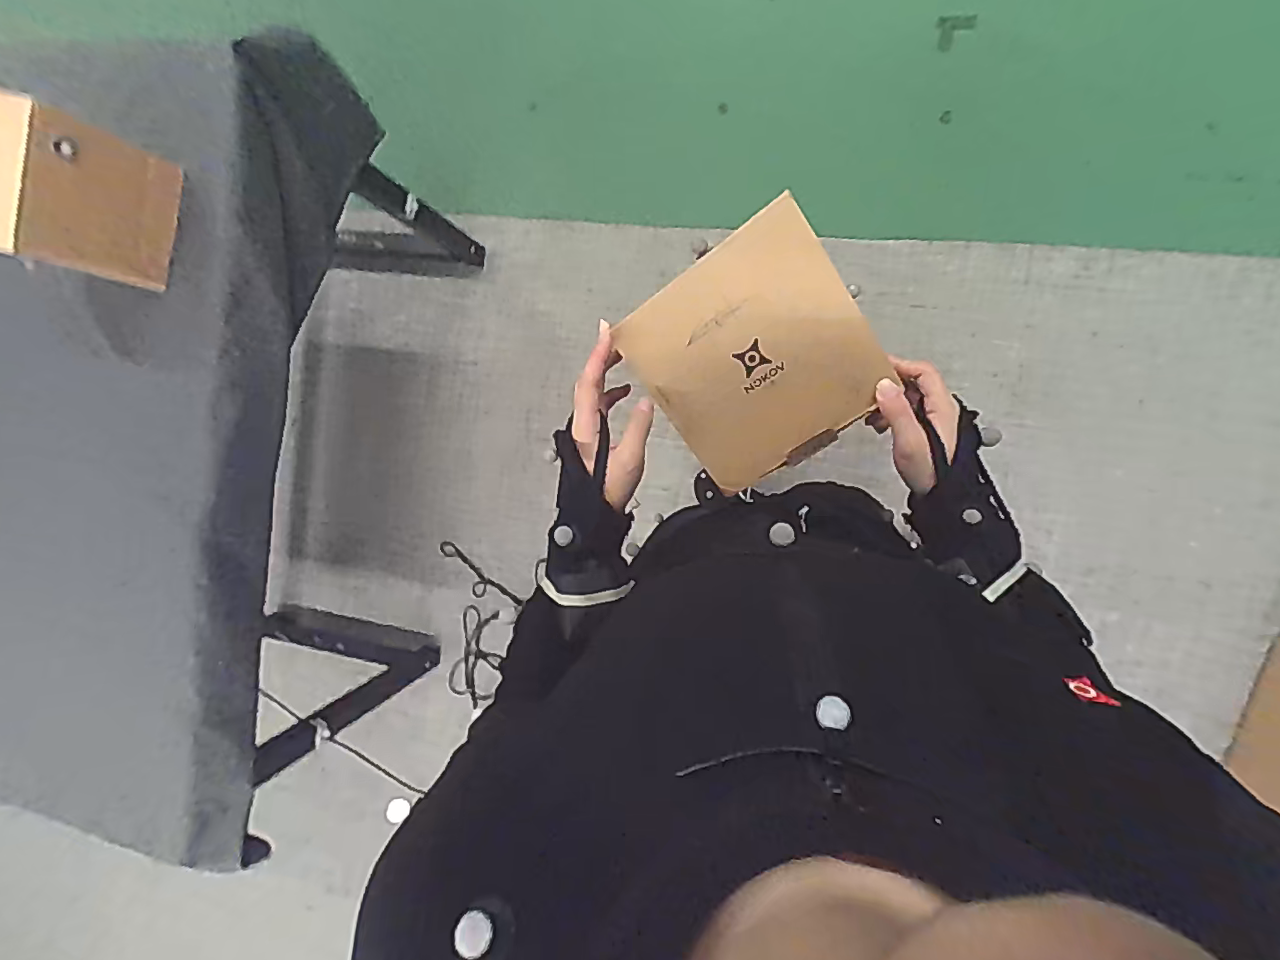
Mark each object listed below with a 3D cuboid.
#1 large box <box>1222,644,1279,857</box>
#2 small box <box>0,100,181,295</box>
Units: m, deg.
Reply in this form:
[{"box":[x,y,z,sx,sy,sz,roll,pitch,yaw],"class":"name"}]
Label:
[{"box":[1.387,0.555,0.958,0.320,0.320,0.408,14,96,12],"class":"large box"},{"box":[-0.755,-0.361,0.709,0.168,0.176,0.179,15,95,12],"class":"small box"}]
